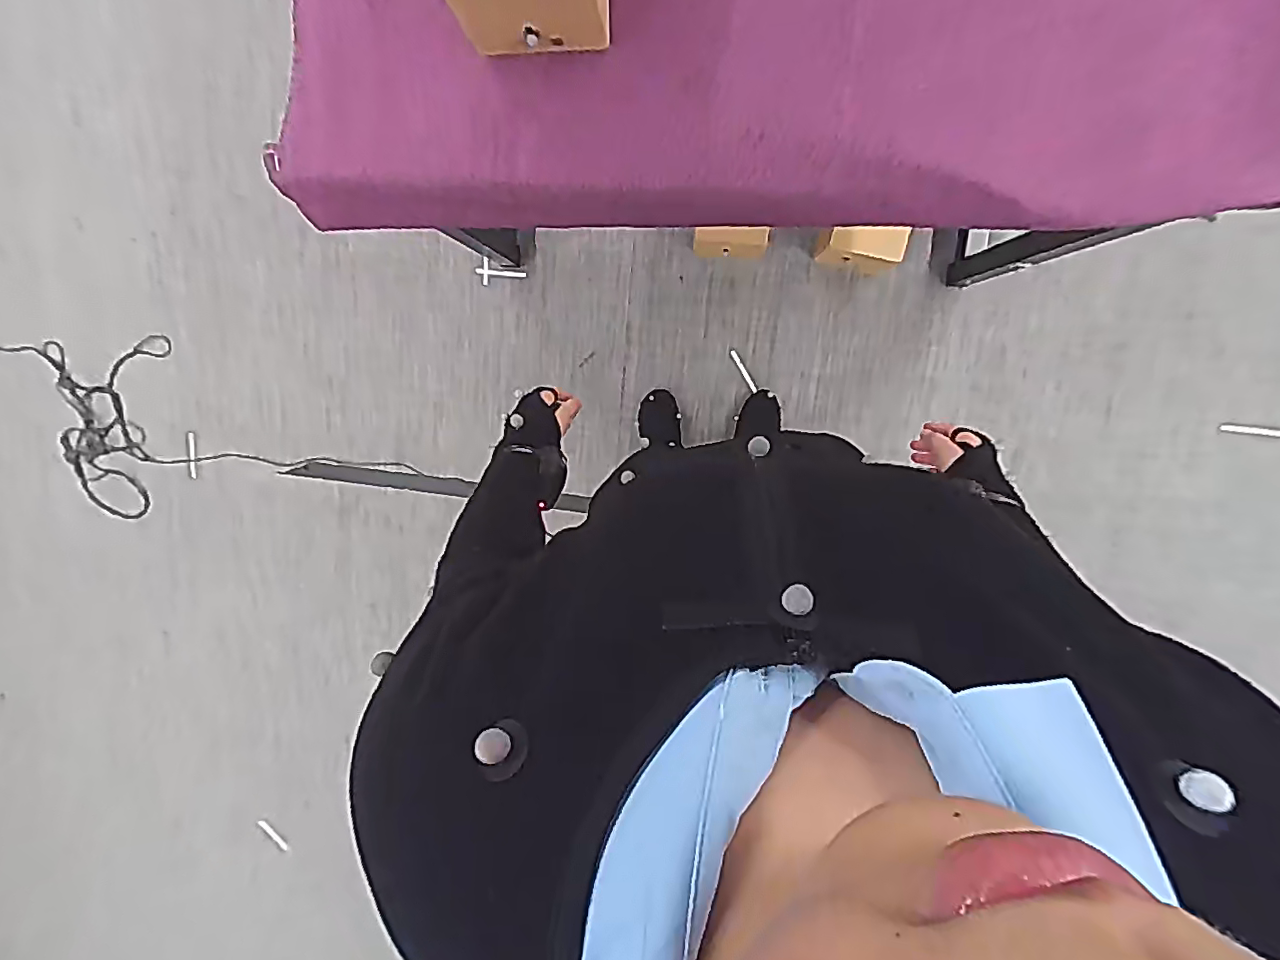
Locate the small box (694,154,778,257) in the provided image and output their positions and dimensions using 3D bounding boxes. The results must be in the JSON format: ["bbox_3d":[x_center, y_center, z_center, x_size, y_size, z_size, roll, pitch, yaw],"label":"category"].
[{"bbox_3d":[0.220,-0.641,1.284,0.168,0.176,0.179,7,101,3],"label":"small box"}]

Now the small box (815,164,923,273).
[{"bbox_3d":[0.526,-0.602,1.269,0.168,0.176,0.179,14,101,2],"label":"small box"}]
